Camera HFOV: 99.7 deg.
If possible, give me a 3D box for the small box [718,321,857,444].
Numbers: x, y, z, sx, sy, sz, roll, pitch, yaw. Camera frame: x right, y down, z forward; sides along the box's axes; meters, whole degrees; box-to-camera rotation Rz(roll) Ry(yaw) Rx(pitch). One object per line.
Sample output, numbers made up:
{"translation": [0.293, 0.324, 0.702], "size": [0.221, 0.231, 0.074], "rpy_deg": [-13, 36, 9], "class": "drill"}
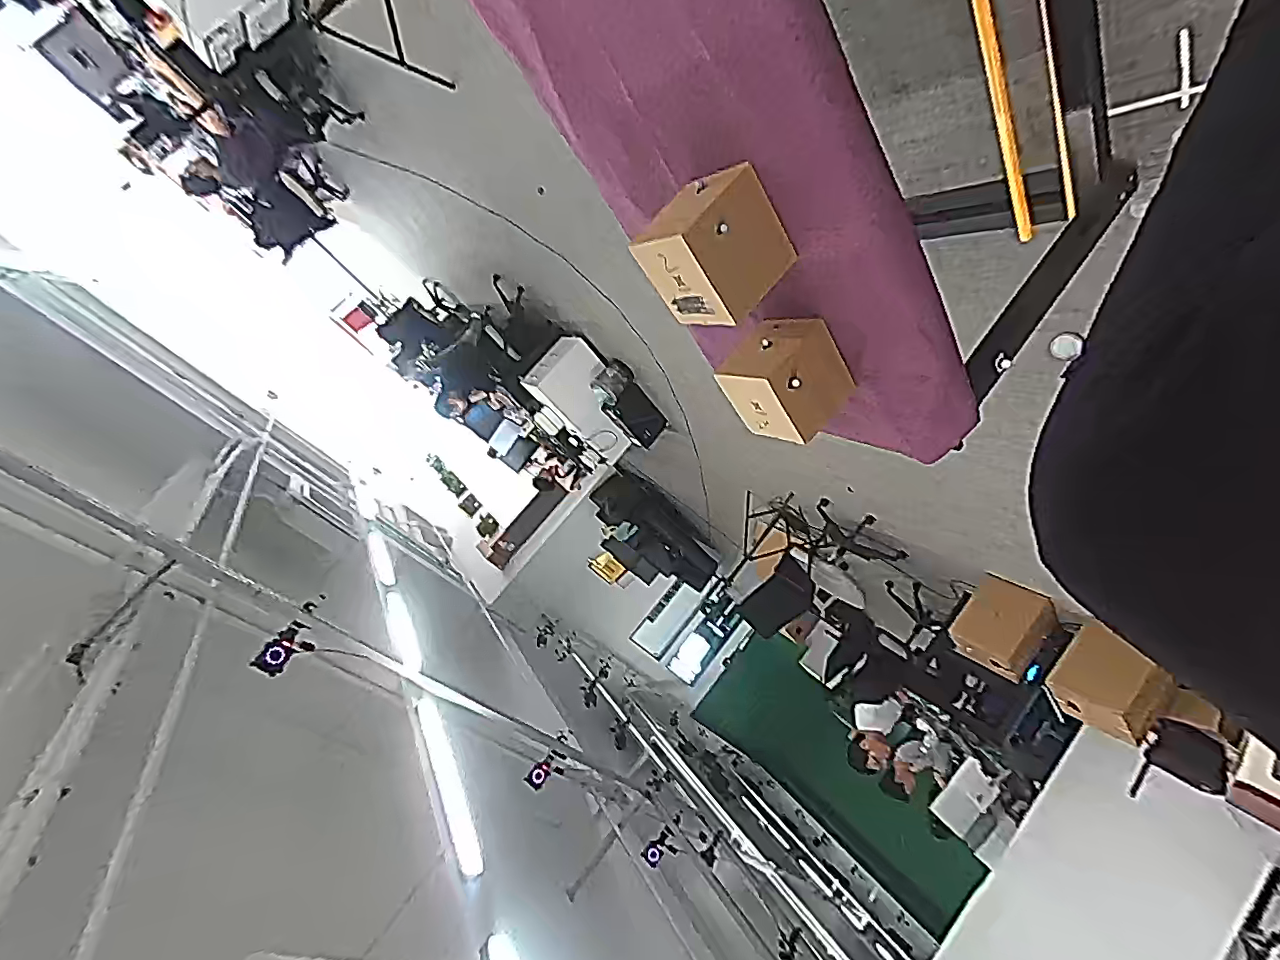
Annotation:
{"translation": [0.298, -0.202, 1.084], "size": [0.179, 0.176, 0.168], "rpy_deg": [49, 169, -30], "class": "small box"}
